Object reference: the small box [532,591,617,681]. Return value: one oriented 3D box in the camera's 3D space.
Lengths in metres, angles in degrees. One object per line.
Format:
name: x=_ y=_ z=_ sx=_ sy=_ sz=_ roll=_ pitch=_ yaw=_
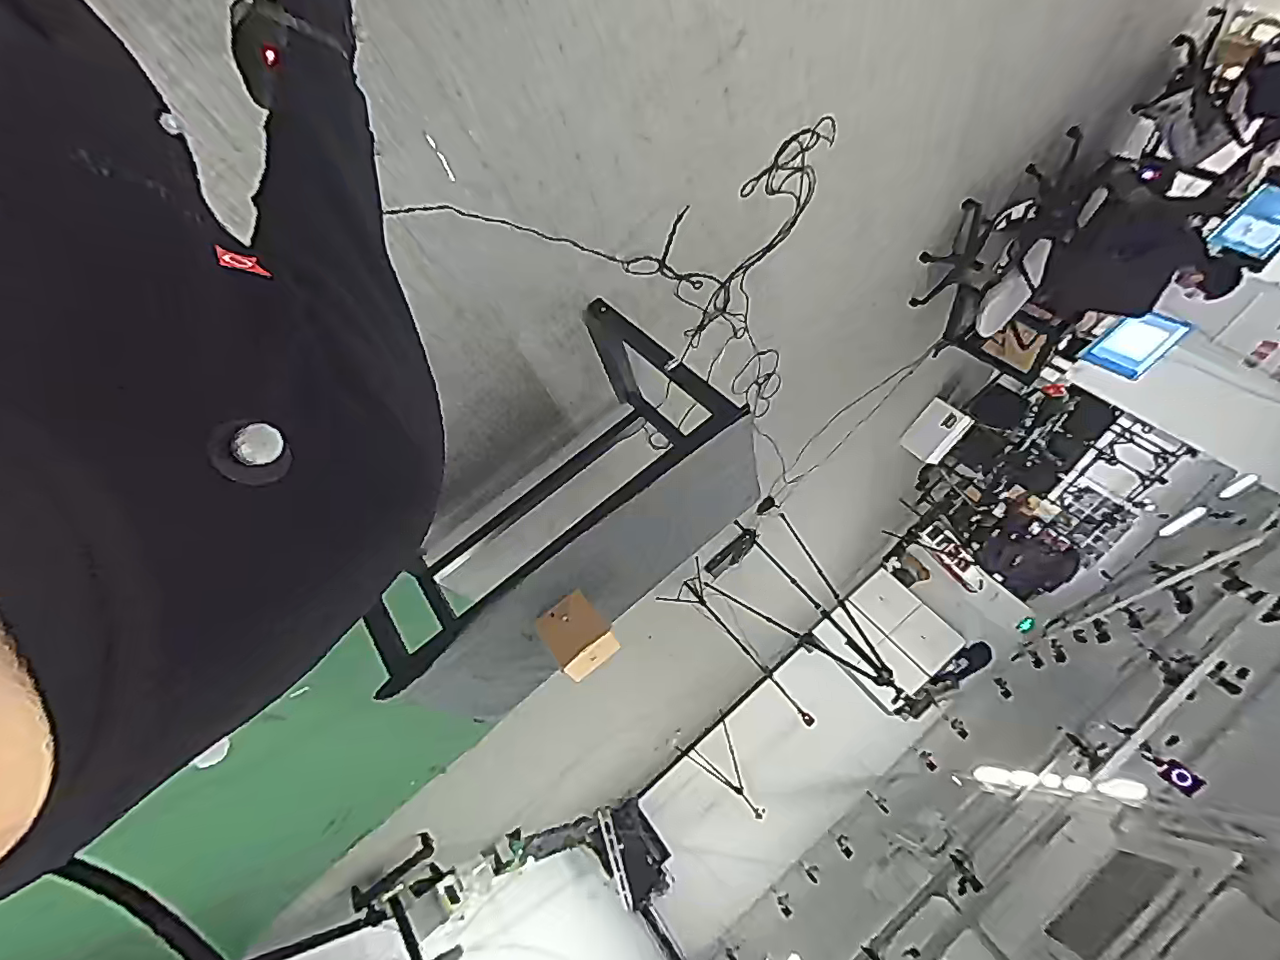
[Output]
small box: x=-0.192 y=0.455 z=1.592 sx=0.168 sy=0.176 sz=0.179 roll=-37 pitch=149 yaw=-13
